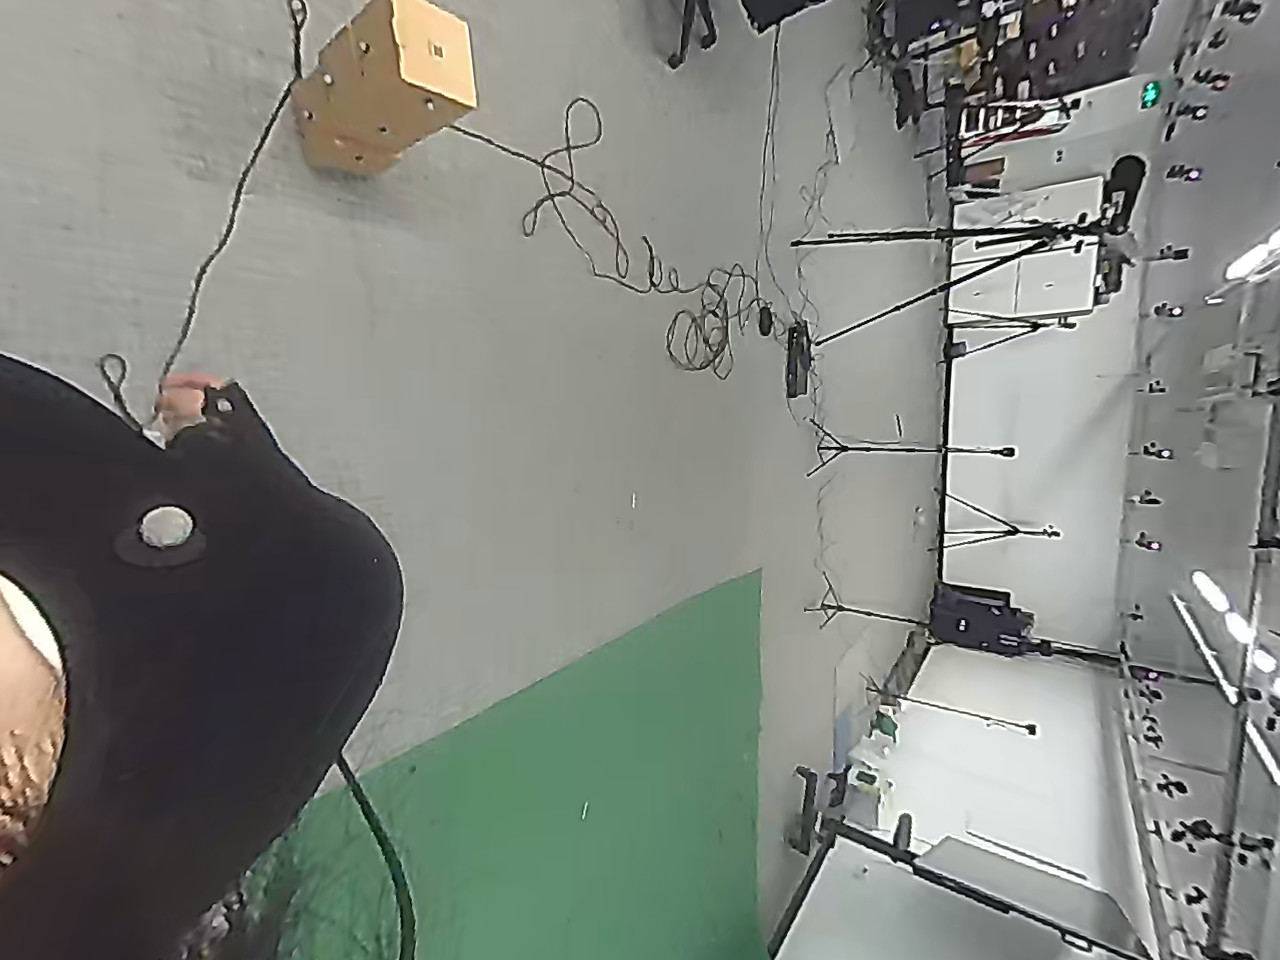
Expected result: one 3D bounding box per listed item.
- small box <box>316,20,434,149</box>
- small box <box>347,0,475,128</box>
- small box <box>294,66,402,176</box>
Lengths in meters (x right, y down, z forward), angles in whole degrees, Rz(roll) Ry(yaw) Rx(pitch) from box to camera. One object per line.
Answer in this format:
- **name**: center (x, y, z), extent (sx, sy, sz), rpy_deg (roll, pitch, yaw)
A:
- **small box**: center (-0.603, -0.885, 1.234), extent (0.179, 0.176, 0.168), rpy_deg (-16, 105, -50)
- **small box**: center (-0.477, -0.870, 1.132), extent (0.179, 0.176, 0.168), rpy_deg (-18, 107, -49)
- **small box**: center (-0.729, -0.876, 1.340), extent (0.179, 0.176, 0.168), rpy_deg (-22, 111, -50)
